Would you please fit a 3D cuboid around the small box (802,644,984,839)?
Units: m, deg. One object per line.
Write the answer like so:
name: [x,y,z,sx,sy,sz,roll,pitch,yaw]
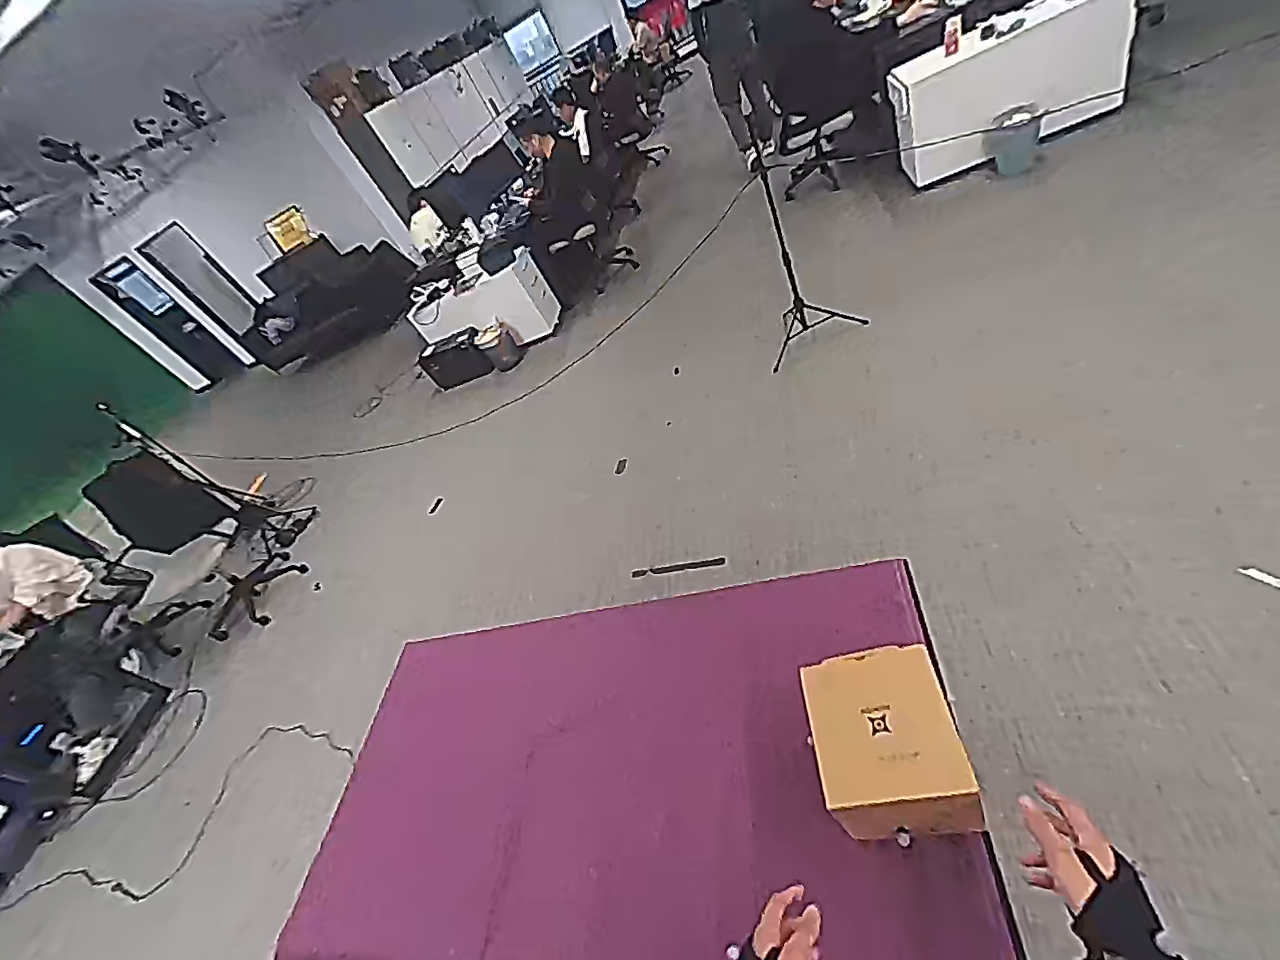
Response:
small box: [0.328,0.347,0.713,0.168,0.176,0.179,-19,40,20]
